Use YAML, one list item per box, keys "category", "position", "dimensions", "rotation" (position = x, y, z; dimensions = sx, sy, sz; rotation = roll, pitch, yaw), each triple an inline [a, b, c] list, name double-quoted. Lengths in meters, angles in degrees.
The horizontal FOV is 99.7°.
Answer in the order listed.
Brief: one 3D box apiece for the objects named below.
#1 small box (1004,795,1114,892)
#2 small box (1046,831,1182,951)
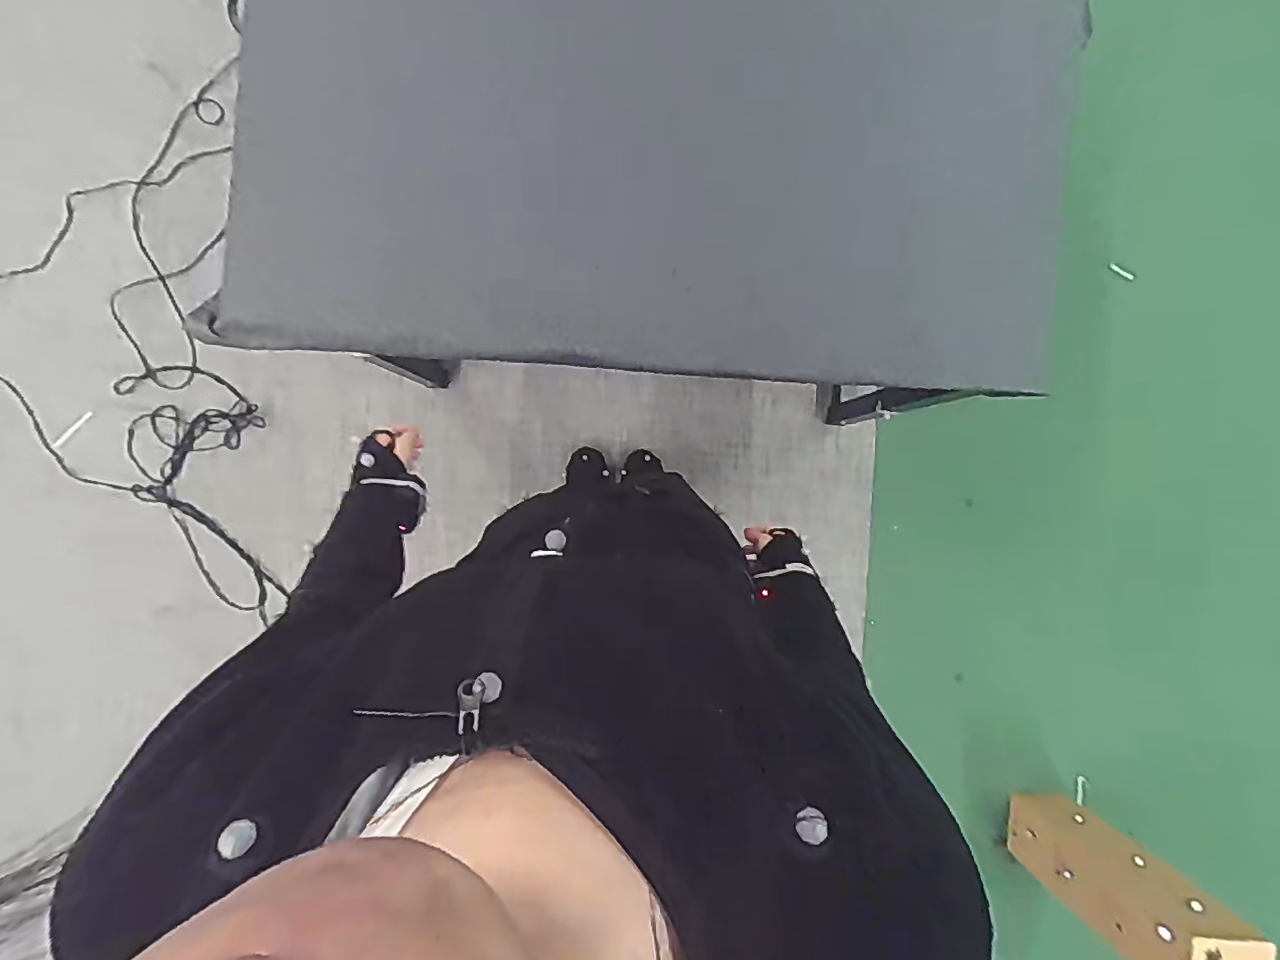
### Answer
- category: "small box"
  position: [1.138, 0.991, 1.480]
  dimensions: [0.179, 0.176, 0.168]
  rotation: [4, 90, -3]
- category: "small box"
  position: [1.145, 0.989, 1.315]
  dimensions: [0.179, 0.176, 0.168]
  rotation: [6, 89, -2]
